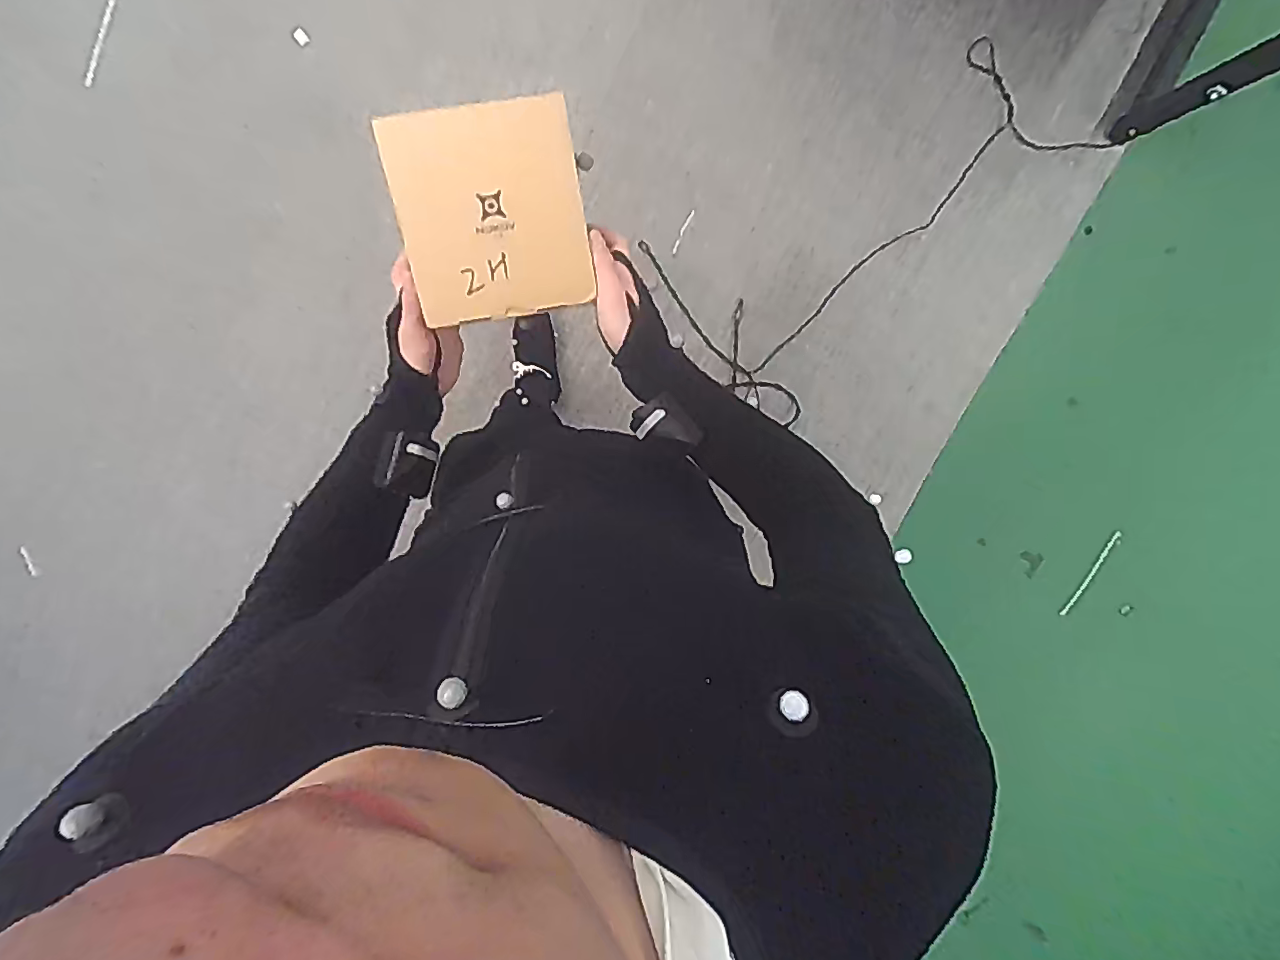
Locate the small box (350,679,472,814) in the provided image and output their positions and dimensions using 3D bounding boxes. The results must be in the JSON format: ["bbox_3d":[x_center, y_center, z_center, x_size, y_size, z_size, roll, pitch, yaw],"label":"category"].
[{"bbox_3d":[-0.502,0.589,1.215,0.168,0.176,0.179,31,97,-7],"label":"small box"}]

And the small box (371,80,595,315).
[{"bbox_3d":[-0.142,-0.270,0.556,0.168,0.176,0.179,-9,109,-2],"label":"small box"}]
